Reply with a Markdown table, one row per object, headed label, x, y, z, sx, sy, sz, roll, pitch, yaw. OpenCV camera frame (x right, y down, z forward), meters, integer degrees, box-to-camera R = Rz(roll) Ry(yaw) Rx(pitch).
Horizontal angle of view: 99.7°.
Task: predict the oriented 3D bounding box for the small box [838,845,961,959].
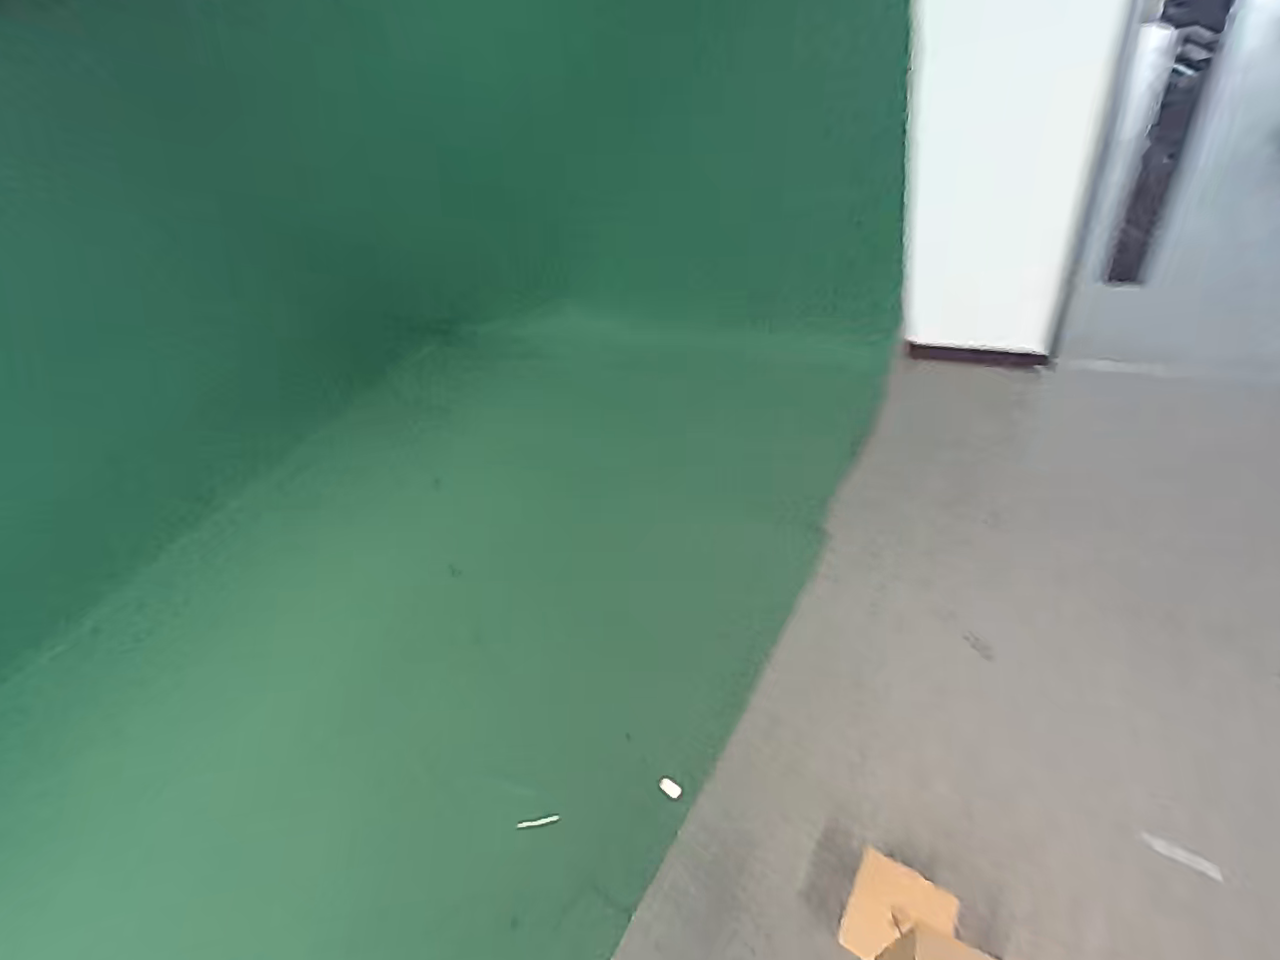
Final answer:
| label | x | y | z | sx | sy | sz | roll | pitch | yaw |
| --- | --- | --- | --- | --- | --- | --- | --- | --- | --- |
| small box | 0.498 | 0.855 | 1.037 | 0.168 | 0.176 | 0.179 | 16 | 55 | 35 |
